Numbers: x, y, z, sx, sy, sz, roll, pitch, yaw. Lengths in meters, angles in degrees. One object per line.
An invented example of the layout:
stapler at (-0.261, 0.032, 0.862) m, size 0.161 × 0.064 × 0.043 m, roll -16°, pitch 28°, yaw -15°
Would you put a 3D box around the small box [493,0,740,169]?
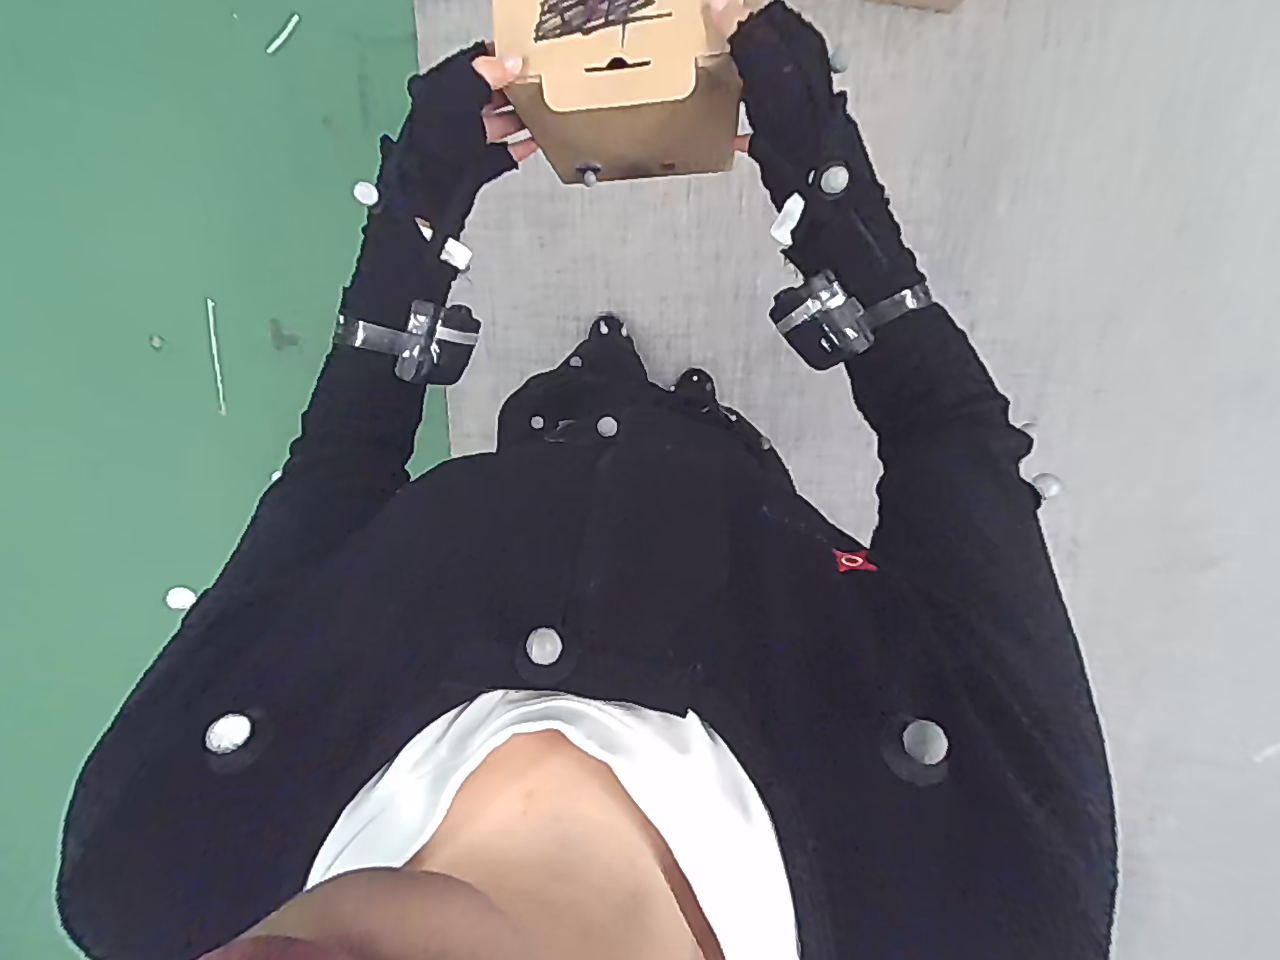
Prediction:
small box at (-0.006, -0.366, 0.421) m, size 0.168 × 0.176 × 0.179 m, roll -1°, pitch 96°, yaw 8°
